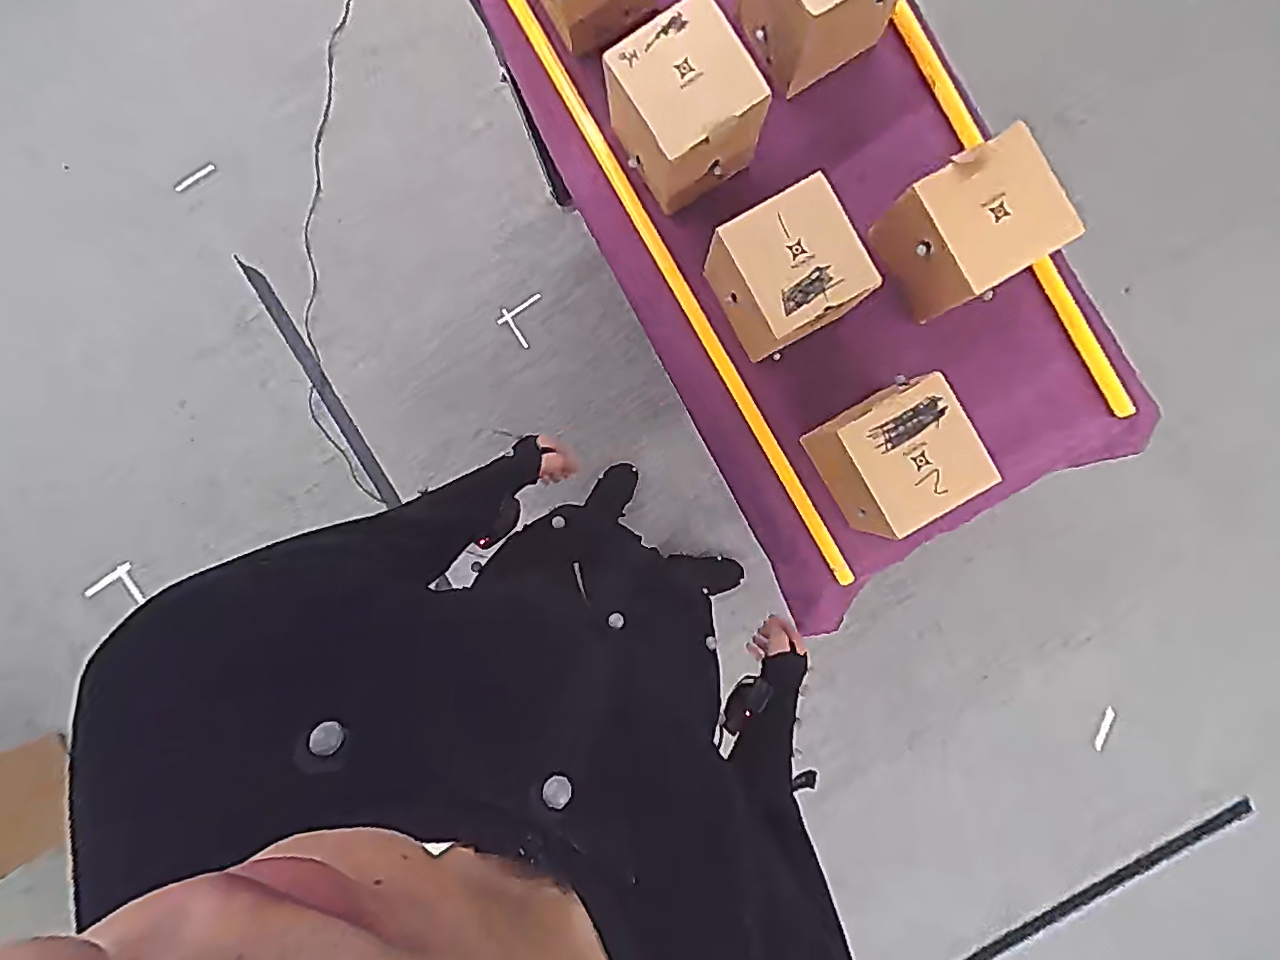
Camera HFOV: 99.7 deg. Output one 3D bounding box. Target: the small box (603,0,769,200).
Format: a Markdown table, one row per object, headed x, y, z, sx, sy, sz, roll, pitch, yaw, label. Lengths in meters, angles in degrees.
| x | y | z | sx | sy | sz | roll | pitch | yaw | label |
| --- | --- | --- | --- | --- | --- | --- | --- | --- | --- |
| 0.065 | -0.553 | 0.807 | 0.168 | 0.176 | 0.179 | -32 | 92 | 2 | small box |

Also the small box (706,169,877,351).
| x | y | z | sx | sy | sz | roll | pitch | yaw | label |
| --- | --- | --- | --- | --- | --- | --- | --- | --- | --- |
| 0.214 | -0.310 | 0.811 | 0.168 | 0.176 | 0.179 | -28 | 90 | 1 | small box |

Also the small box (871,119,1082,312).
| x | y | z | sx | sy | sz | roll | pitch | yaw | label |
| --- | --- | --- | --- | --- | --- | --- | --- | --- | --- |
| 0.481 | -0.370 | 0.801 | 0.168 | 0.176 | 0.179 | -30 | 90 | 4 | small box |

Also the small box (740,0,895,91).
| x | y | z | sx | sy | sz | roll | pitch | yaw | label |
| --- | --- | --- | --- | --- | --- | --- | --- | --- | --- |
| 0.266 | -0.735 | 0.792 | 0.179 | 0.176 | 0.168 | -30 | 91 | 4 | small box |

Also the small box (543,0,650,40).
| x | y | z | sx | sy | sz | roll | pitch | yaw | label |
| --- | --- | --- | --- | --- | --- | --- | --- | --- | --- |
| -0.084 | -0.808 | 0.799 | 0.168 | 0.176 | 0.179 | -31 | 93 | 2 | small box |
